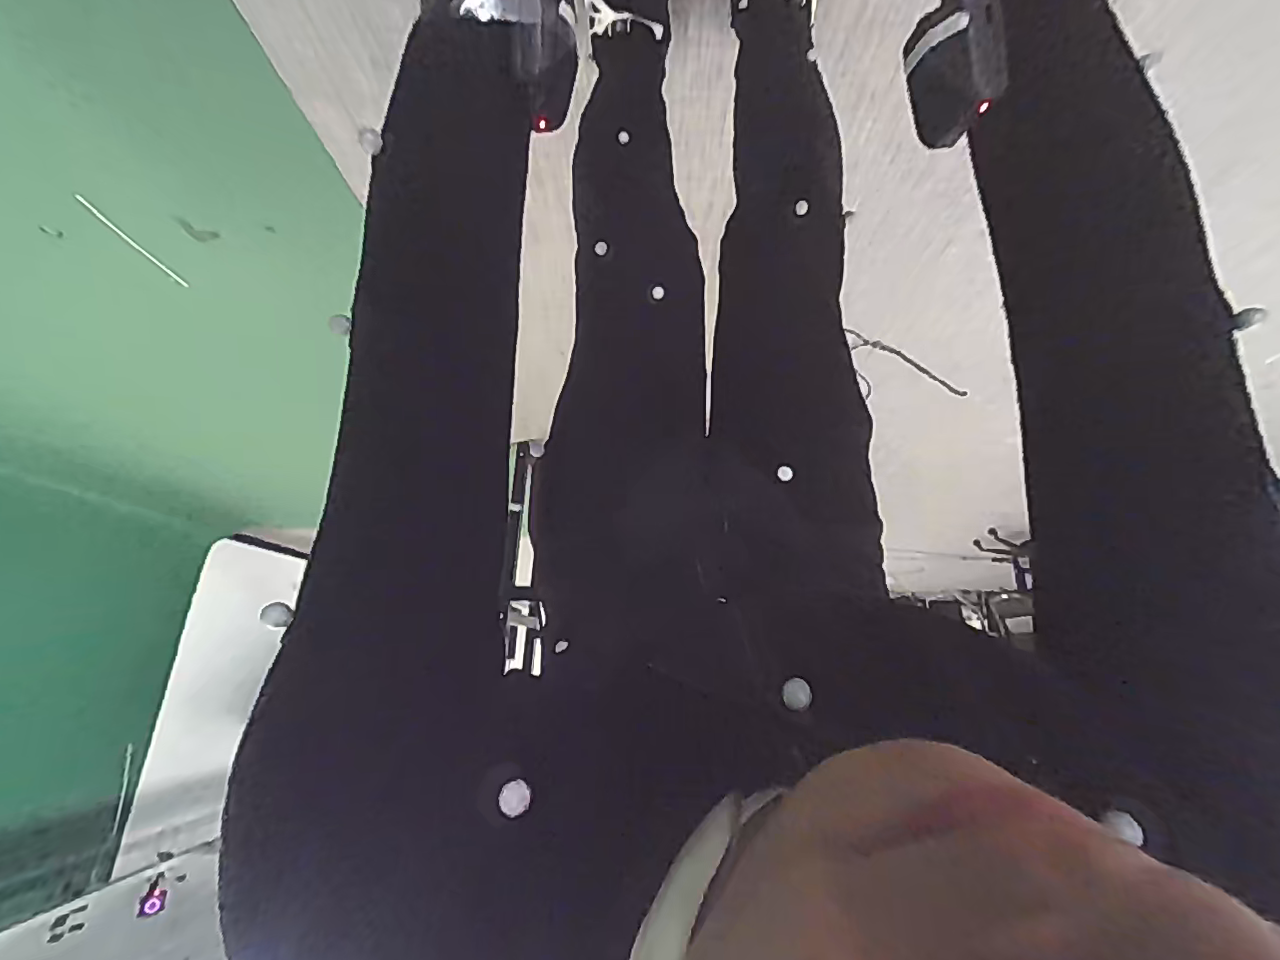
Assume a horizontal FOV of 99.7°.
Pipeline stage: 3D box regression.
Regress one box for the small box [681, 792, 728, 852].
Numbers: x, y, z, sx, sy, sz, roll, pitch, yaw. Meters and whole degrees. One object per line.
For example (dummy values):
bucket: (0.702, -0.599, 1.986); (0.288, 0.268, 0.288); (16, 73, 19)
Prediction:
small box: (0.253, 1.341, 2.133); (0.168, 0.176, 0.179); (2, 163, -1)
